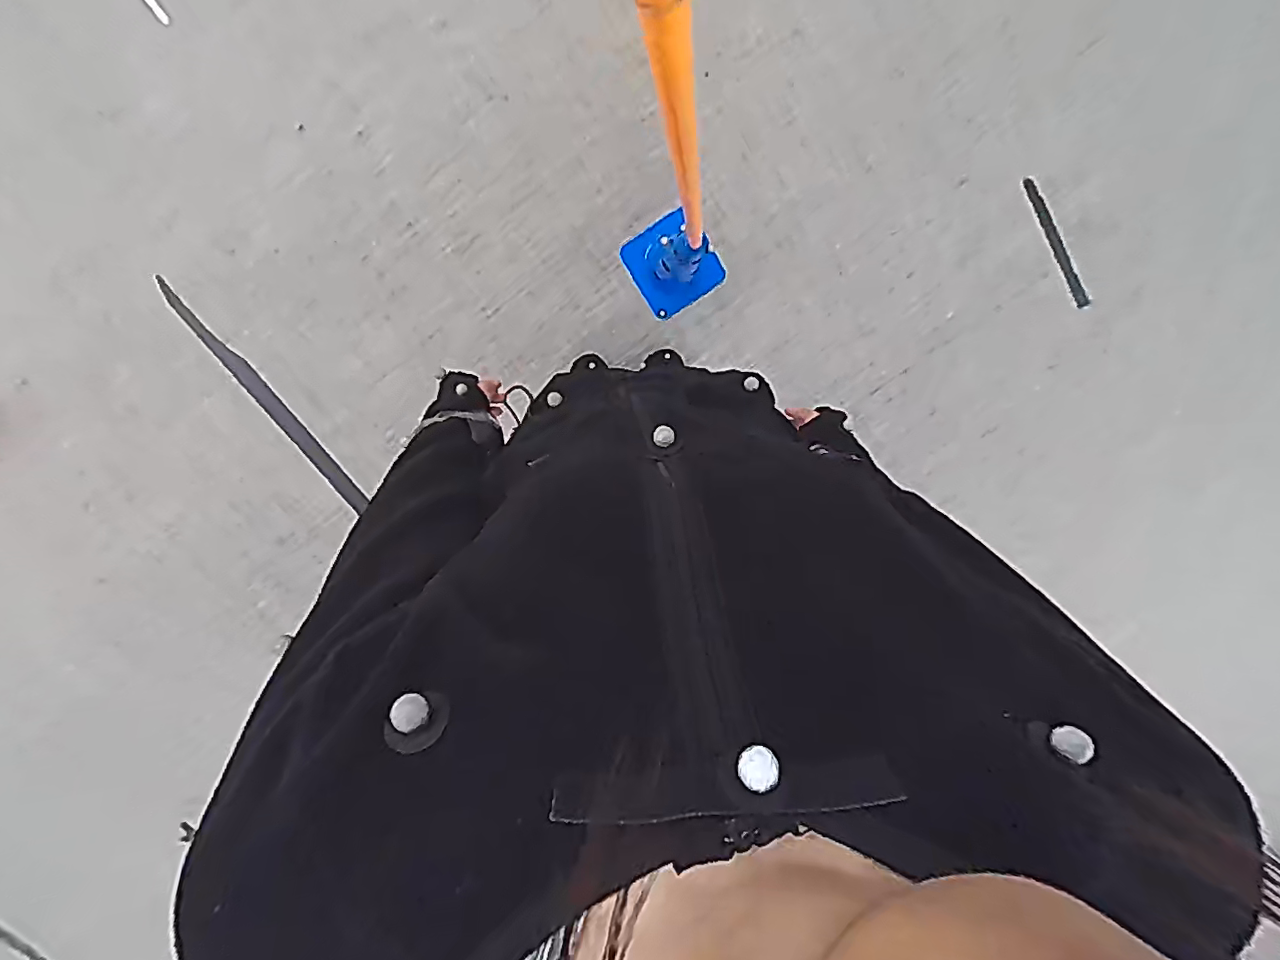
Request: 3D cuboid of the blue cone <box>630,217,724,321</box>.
[{"bbox_3d":[0.098,-0.466,1.145,0.193,0.380,0.192,-31,106,5],"label":"blue cone"}]
